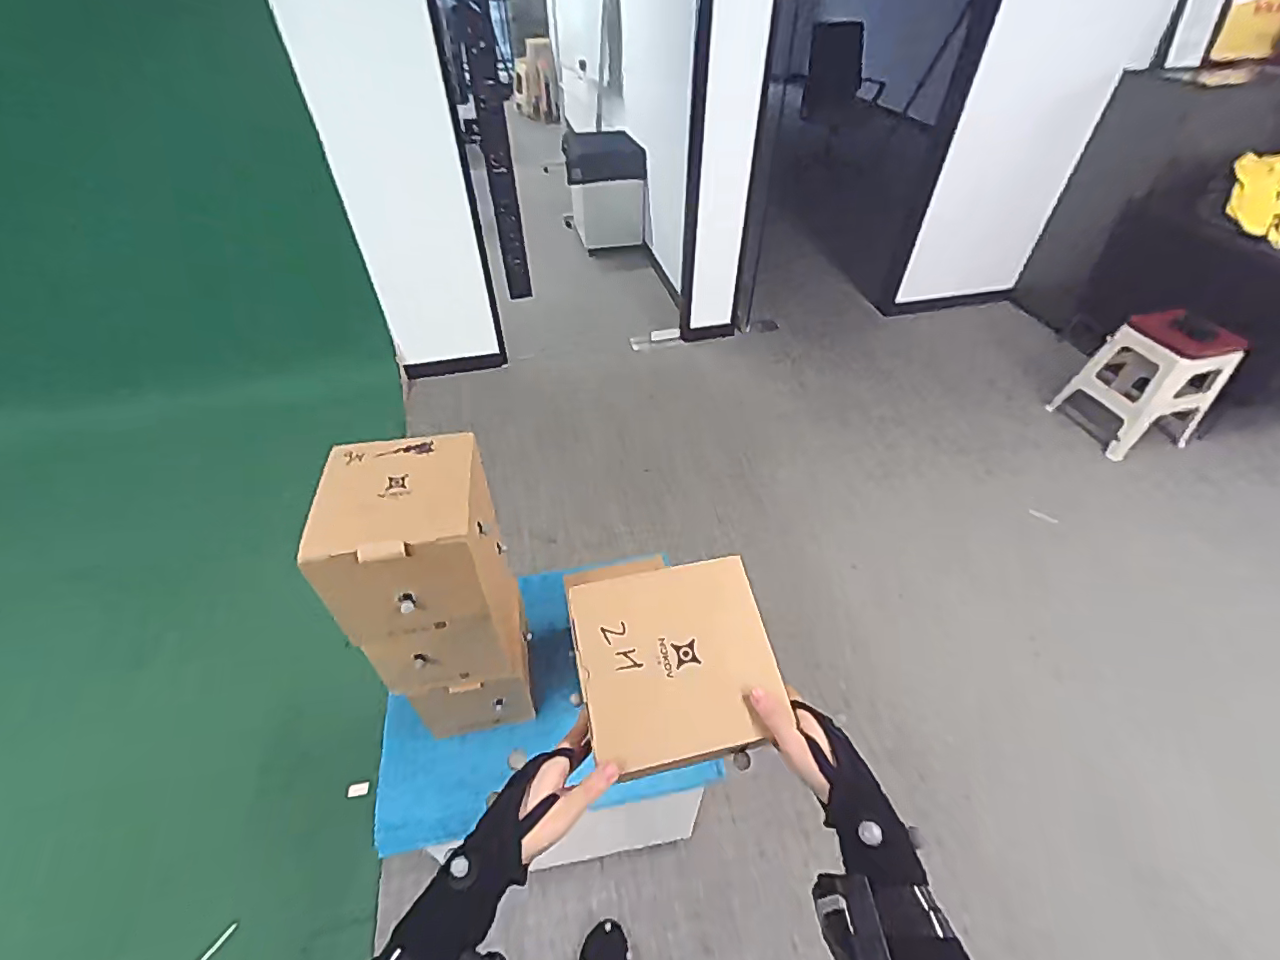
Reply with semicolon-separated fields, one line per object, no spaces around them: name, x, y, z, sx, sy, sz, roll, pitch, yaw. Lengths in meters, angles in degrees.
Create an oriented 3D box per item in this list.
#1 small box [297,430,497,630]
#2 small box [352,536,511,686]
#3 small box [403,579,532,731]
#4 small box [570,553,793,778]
small box;-0.269;0.064;0.648;0.168;0.176;0.179;-6;45;-8
small box;-0.279;0.175;0.769;0.168;0.176;0.179;-6;44;-8
small box;-0.270;0.290;0.884;0.168;0.176;0.179;-6;44;-9
small box;0.027;0.193;0.552;0.179;0.176;0.168;-8;58;-9
